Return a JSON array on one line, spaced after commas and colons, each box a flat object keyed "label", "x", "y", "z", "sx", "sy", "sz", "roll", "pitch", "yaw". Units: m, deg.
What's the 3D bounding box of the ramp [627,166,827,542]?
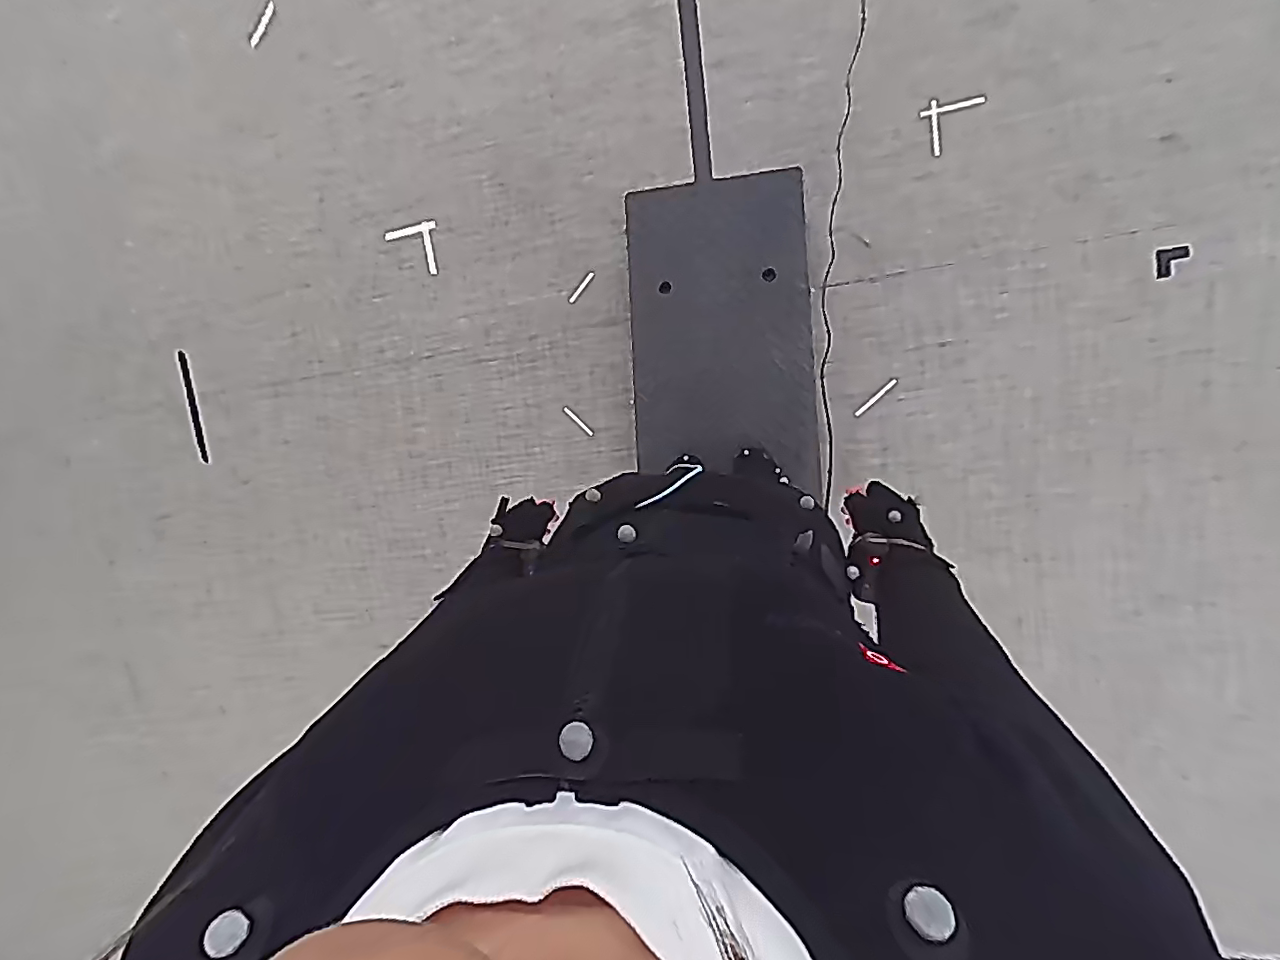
[{"label": "ramp", "x": 0.221, "y": -0.338, "z": 1.476, "sx": 0.509, "sy": 0.206, "sz": 0.991, "roll": -5, "pitch": 96, "yaw": 12}]
